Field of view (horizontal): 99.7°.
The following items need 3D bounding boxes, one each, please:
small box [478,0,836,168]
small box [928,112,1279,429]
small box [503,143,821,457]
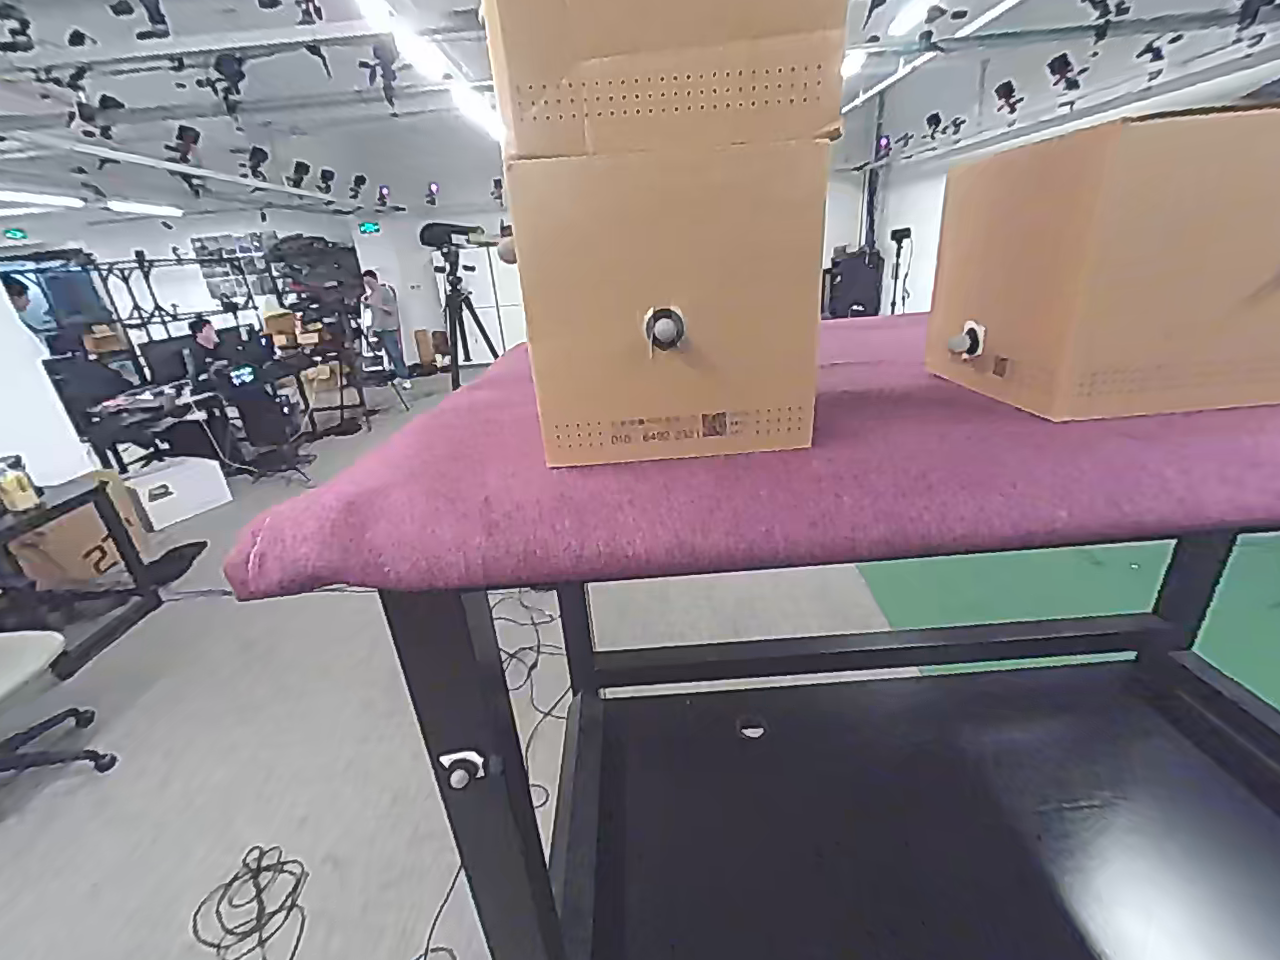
[{"bbox_3d":[0.005,-0.268,0.313,0.179,0.176,0.168,-4,24,-1],"label":"small box"},{"bbox_3d":[0.335,-0.143,0.383,0.179,0.176,0.168,-6,22,0],"label":"small box"},{"bbox_3d":[0.015,-0.119,0.378,0.168,0.176,0.179,-4,23,-1],"label":"small box"}]
